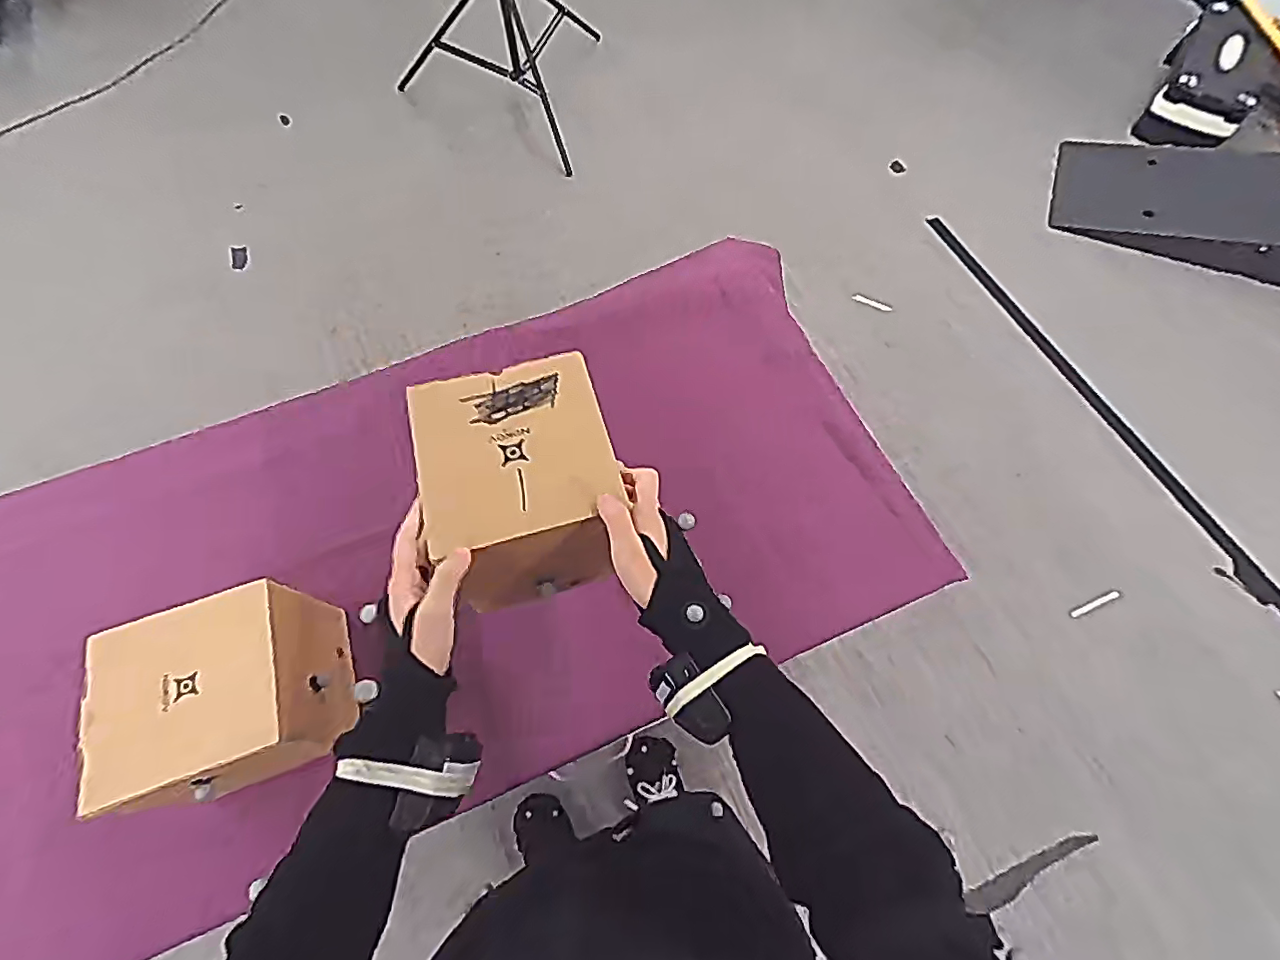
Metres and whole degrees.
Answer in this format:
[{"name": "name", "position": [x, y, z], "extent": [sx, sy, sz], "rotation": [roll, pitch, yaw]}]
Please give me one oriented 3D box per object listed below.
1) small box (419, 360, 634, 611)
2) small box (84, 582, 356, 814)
[{"name": "small box", "position": [-0.108, 0.011, 0.548], "extent": [0.168, 0.176, 0.179], "rotation": [-15, 63, -8]}, {"name": "small box", "position": [-0.437, 0.231, 0.591], "extent": [0.179, 0.176, 0.168], "rotation": [-19, 67, -7]}]
